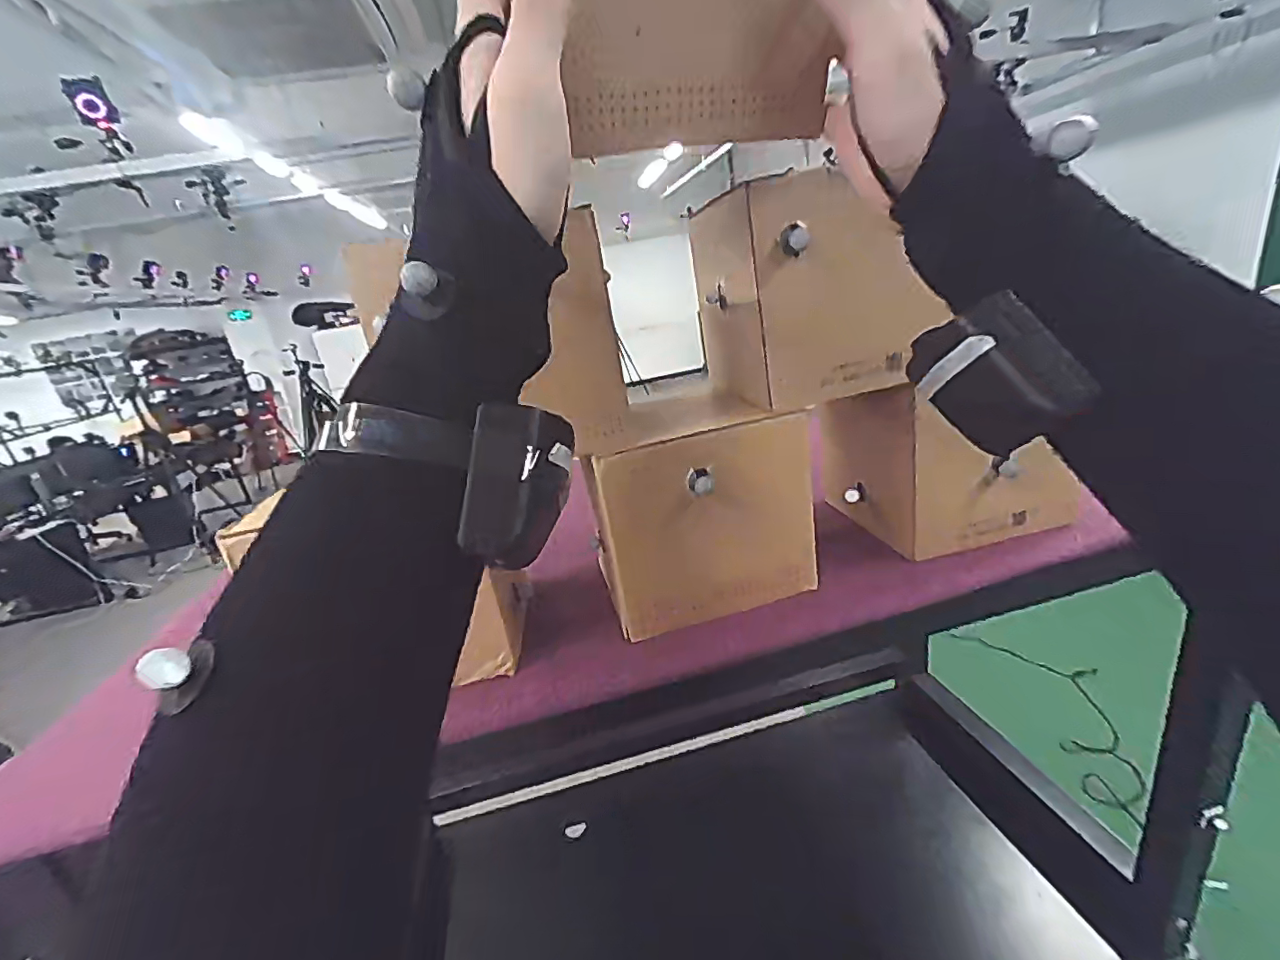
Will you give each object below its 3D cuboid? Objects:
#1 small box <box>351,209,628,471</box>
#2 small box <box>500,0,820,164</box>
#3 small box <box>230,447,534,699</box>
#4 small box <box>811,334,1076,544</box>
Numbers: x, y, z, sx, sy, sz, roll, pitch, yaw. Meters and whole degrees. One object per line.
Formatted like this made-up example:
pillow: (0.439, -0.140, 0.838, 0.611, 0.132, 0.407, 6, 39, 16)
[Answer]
small box: (-0.112, -0.114, 0.465, 0.168, 0.176, 0.179, -12, 18, -7)
small box: (0.002, -0.305, 0.334, 0.179, 0.176, 0.168, -10, 40, -10)
small box: (-0.205, 0.070, 0.489, 0.179, 0.176, 0.168, -11, 19, -4)
small box: (0.295, -0.046, 0.558, 0.168, 0.176, 0.179, -12, 20, -6)
